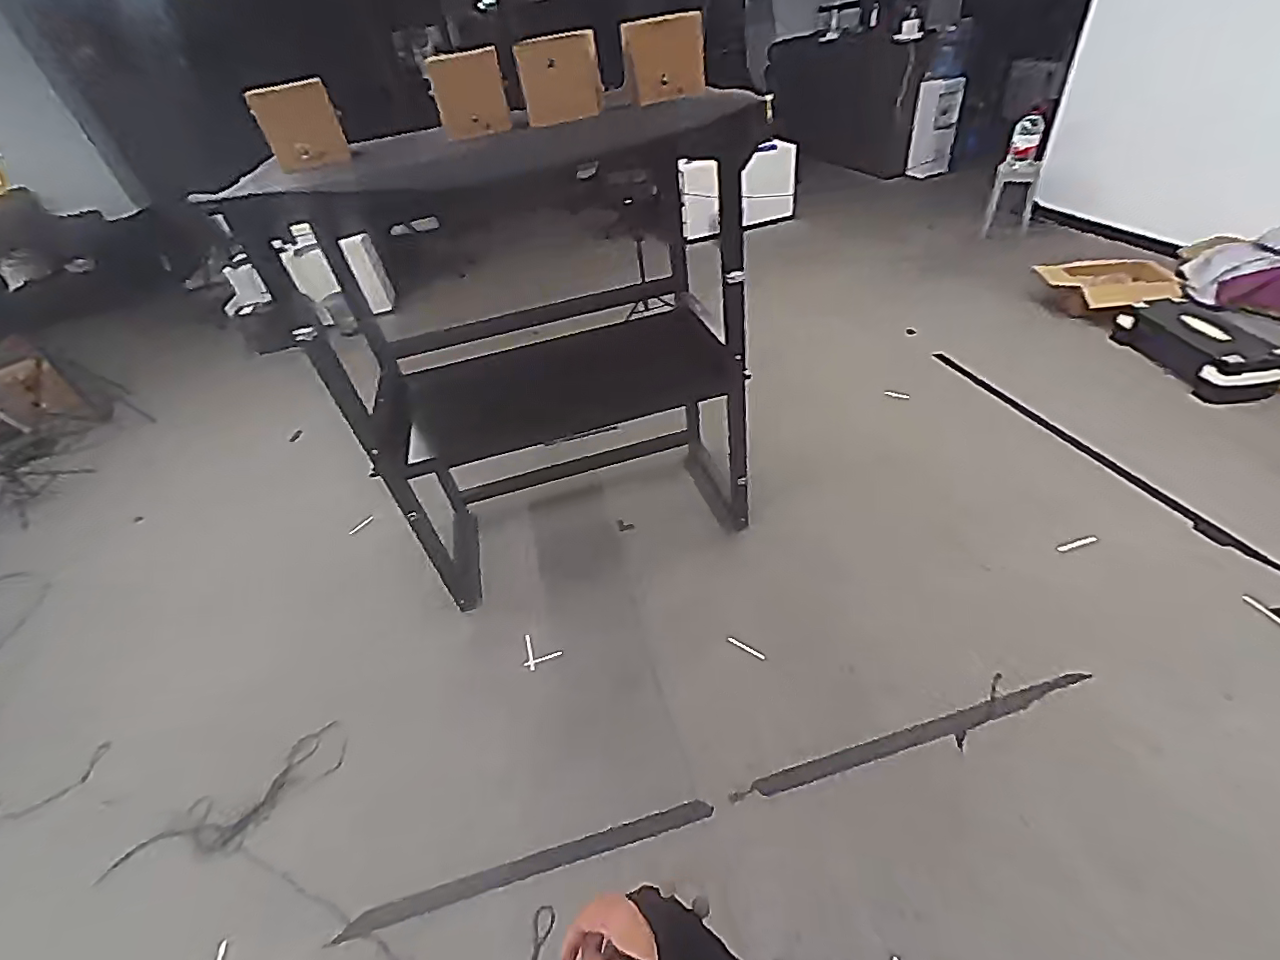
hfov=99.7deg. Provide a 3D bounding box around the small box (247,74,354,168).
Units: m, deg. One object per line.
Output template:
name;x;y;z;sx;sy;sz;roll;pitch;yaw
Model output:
small box;-0.838;-0.896;1.353;0.168;0.176;0.179;-22;43;-13

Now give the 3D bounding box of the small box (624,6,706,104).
small box;0.061;-1.041;1.330;0.168;0.176;0.179;-12;41;-1

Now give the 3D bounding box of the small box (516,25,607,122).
small box;-0.188;-1.009;1.345;0.179;0.176;0.168;-5;41;6
